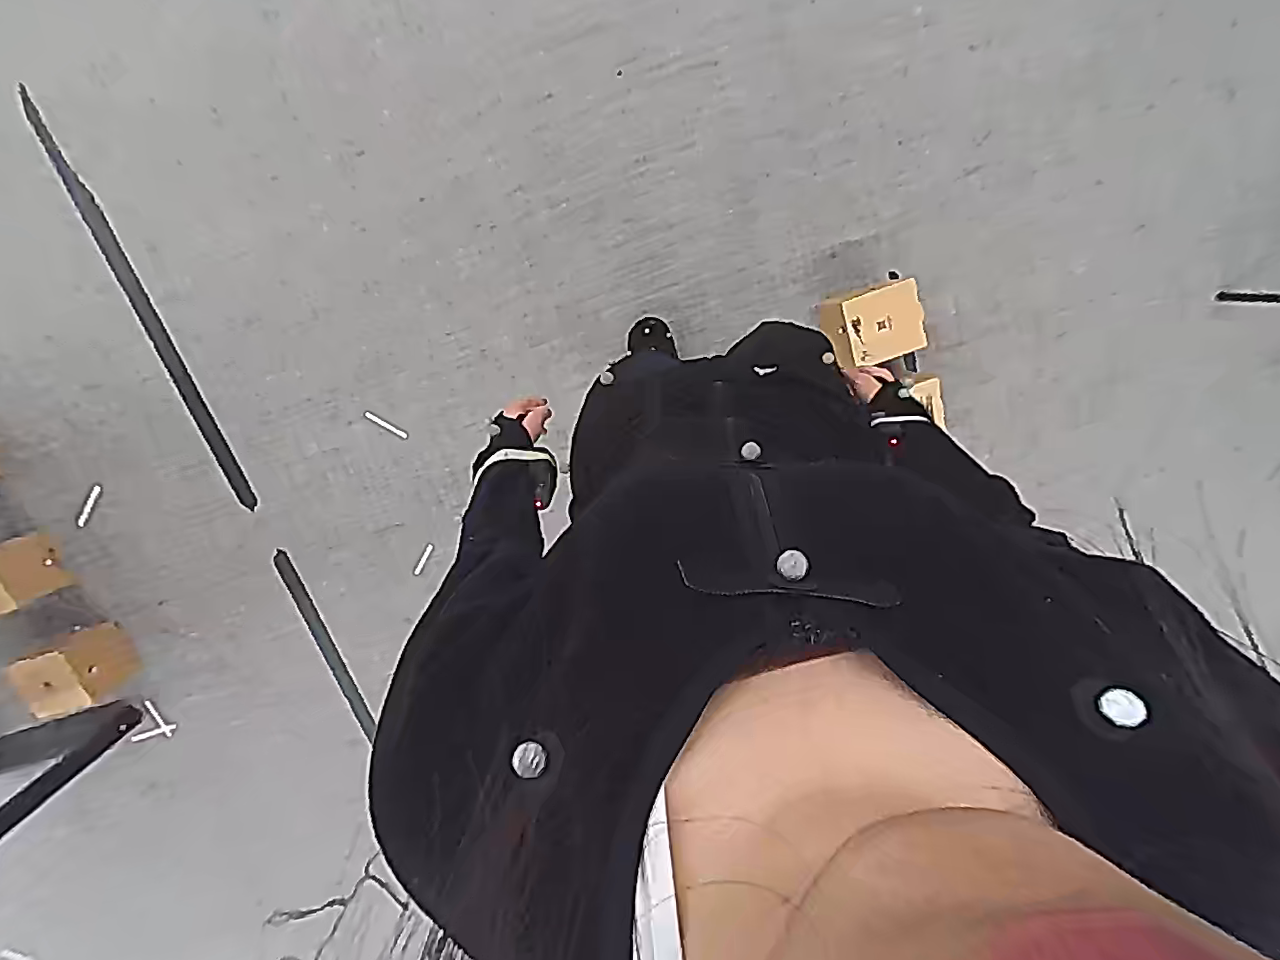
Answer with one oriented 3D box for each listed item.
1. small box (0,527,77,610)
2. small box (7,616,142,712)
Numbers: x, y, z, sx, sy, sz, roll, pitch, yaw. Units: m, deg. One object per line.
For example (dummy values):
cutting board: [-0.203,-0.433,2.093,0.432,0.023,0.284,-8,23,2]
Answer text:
small box: [-1.699,0.247,1.448,0.179,0.176,0.168,-18,107,3]
small box: [-1.591,0.519,1.536,0.168,0.176,0.179,-15,106,2]
